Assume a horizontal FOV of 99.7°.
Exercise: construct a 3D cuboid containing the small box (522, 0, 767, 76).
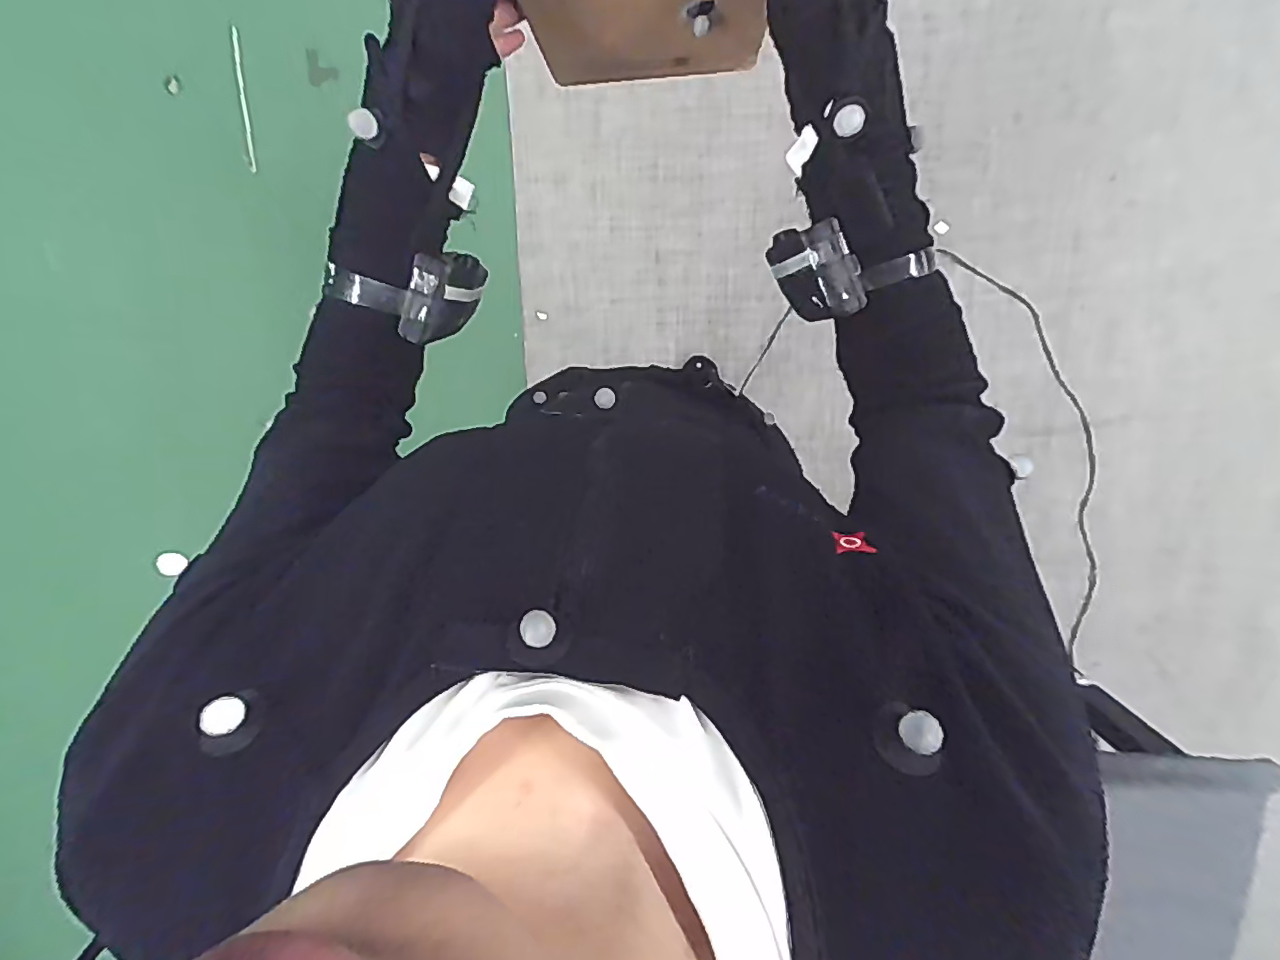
[{"bbox_3d":[0.003,-0.394,0.348,0.168,0.176,0.179,-2,102,4],"label":"small box"}]
